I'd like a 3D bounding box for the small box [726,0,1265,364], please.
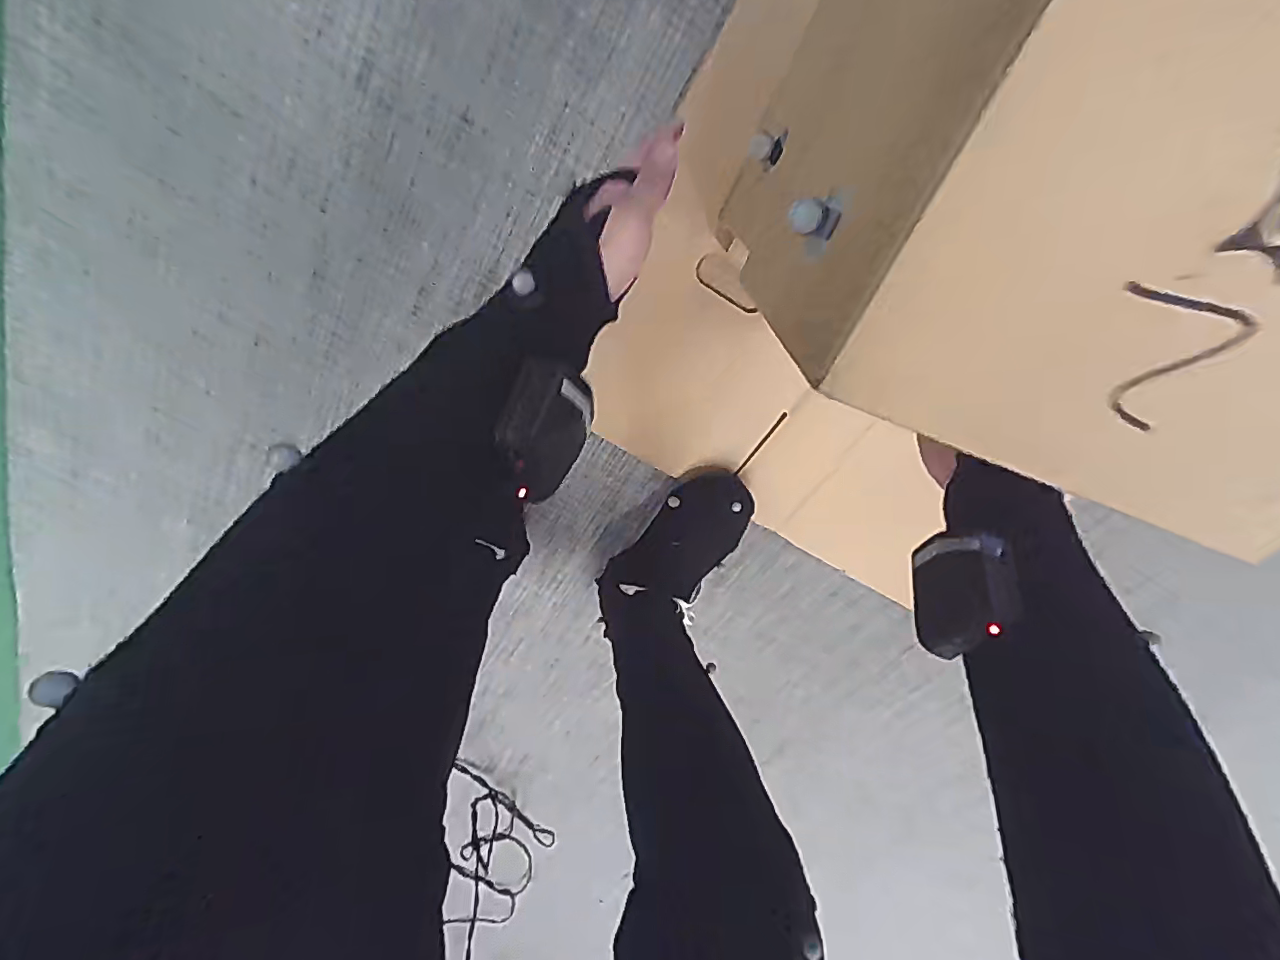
[{"bbox_3d":[0.164,-0.202,0.326,0.168,0.176,0.179,22,118,-12],"label":"small box"}]
